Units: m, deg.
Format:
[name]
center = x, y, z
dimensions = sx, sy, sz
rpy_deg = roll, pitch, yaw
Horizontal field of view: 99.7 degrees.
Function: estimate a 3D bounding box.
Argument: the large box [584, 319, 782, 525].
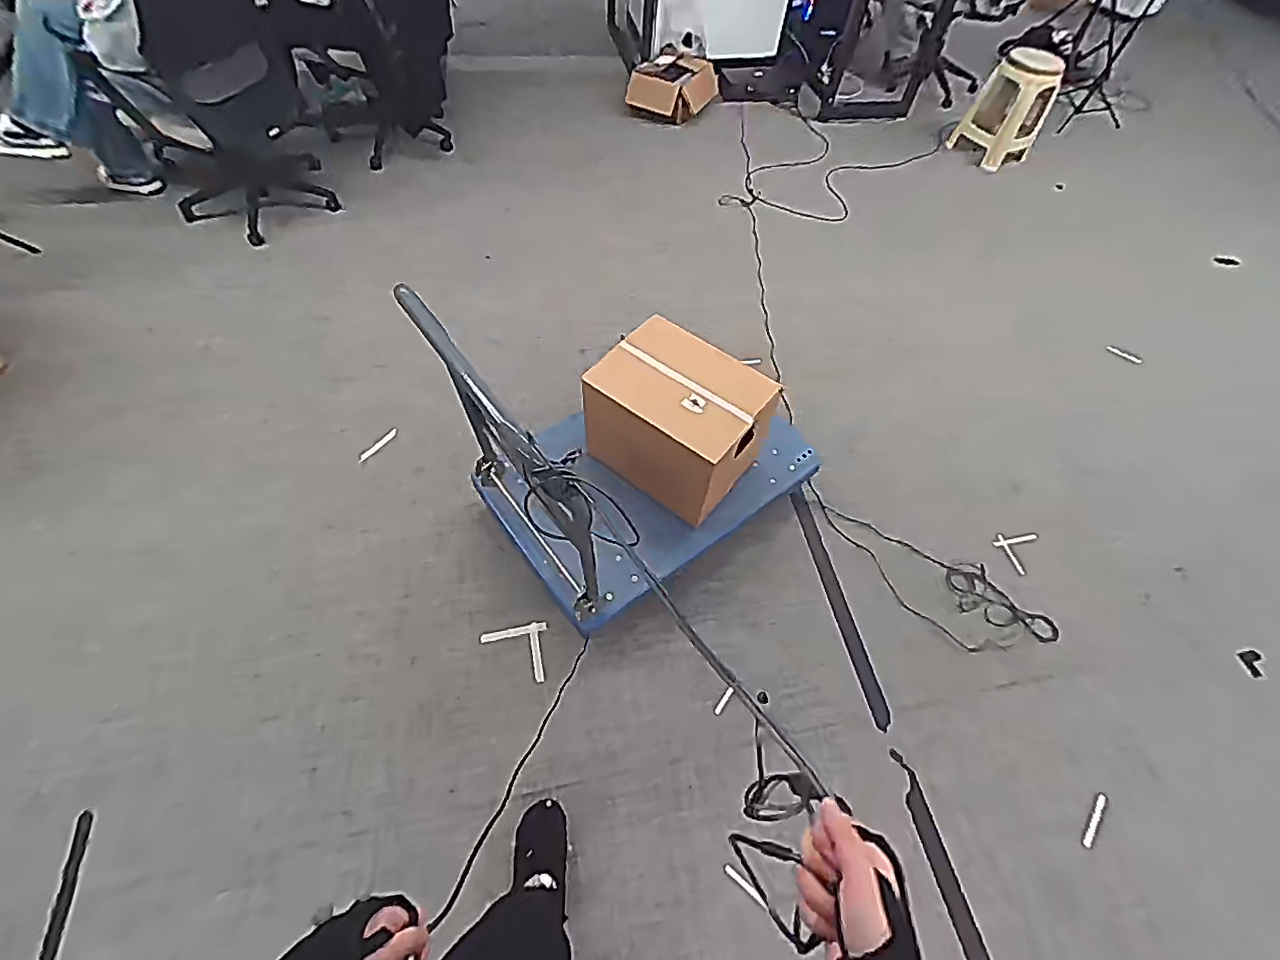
[large box]
center = 0.096, -0.155, 1.458
dimensions = 0.408, 0.320, 0.320
rpy_deg = 35, 62, 17
